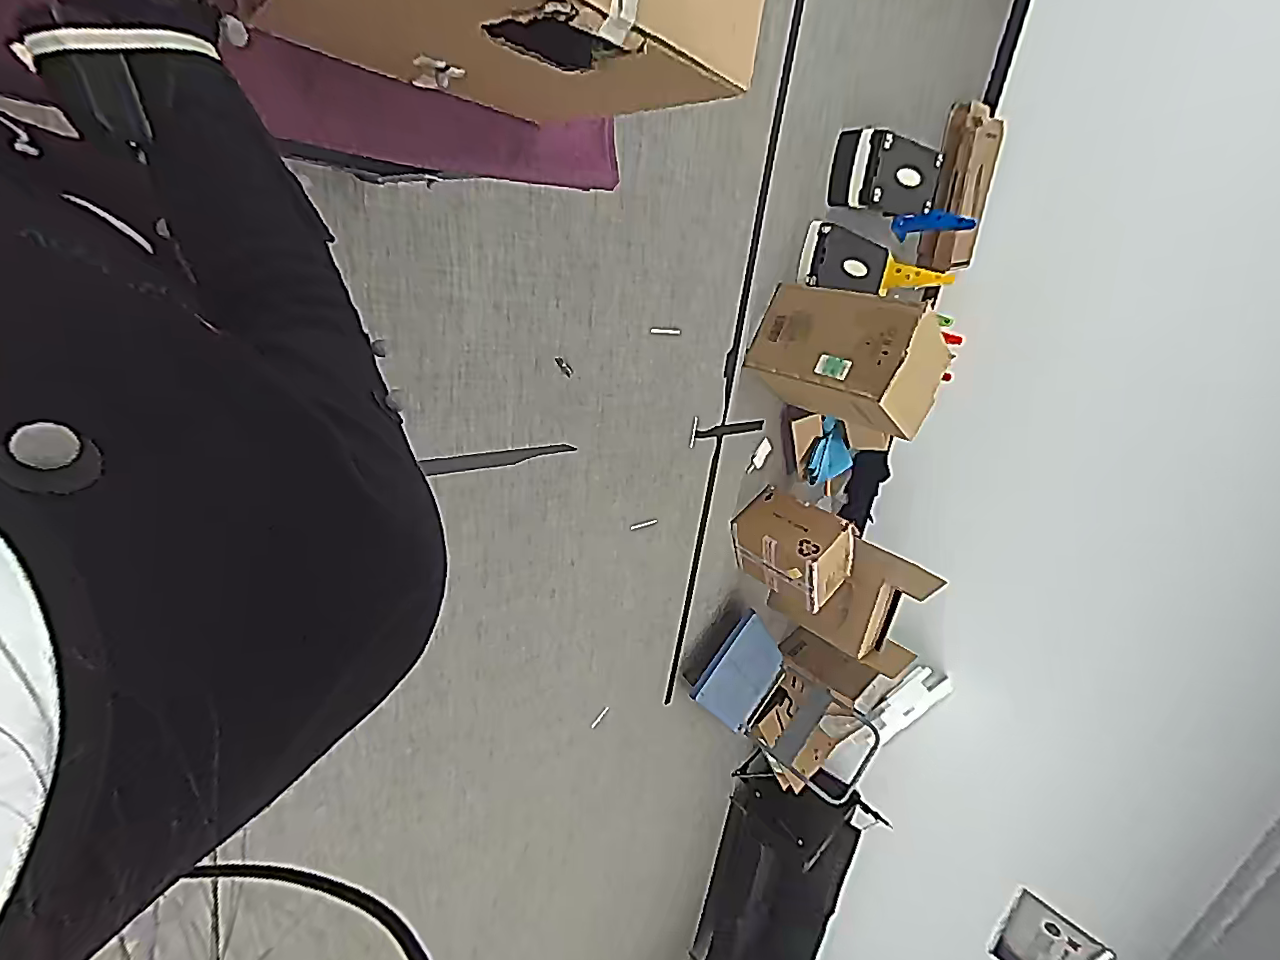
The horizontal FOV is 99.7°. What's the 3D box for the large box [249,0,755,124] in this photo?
[{"bbox_3d":[-0.102,-0.540,0.394,0.320,0.320,0.408,-13,118,-43],"label":"large box"}]
